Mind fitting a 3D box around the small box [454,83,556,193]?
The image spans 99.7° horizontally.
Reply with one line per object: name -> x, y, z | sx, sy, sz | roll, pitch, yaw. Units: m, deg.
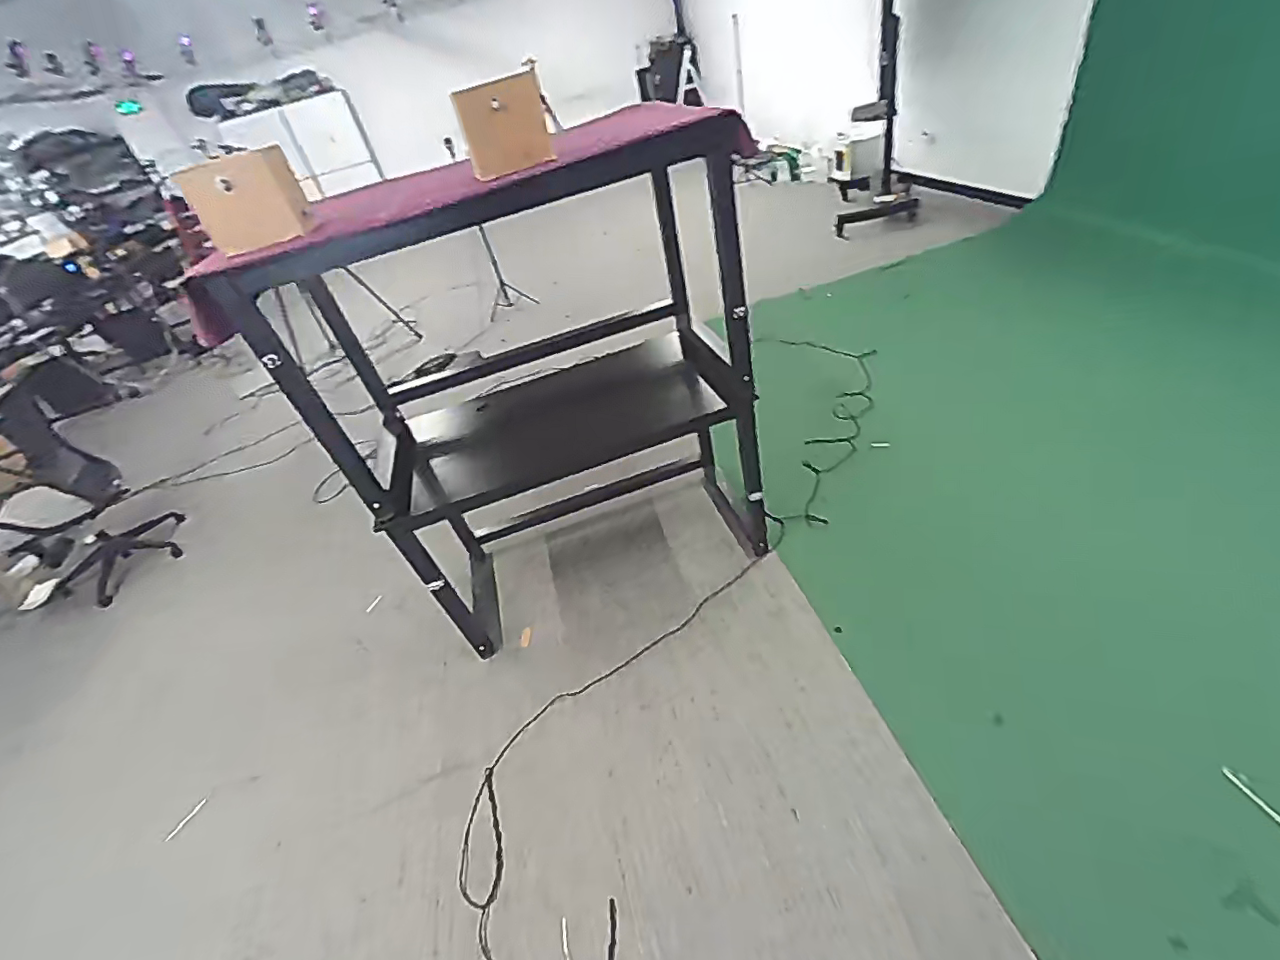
small box -> -0.300, -0.773, 1.223 | 0.179, 0.176, 0.168 | -22, 37, -7

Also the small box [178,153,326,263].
small box -> -0.822, -0.586, 1.169 | 0.179, 0.176, 0.168 | -19, 38, -6
